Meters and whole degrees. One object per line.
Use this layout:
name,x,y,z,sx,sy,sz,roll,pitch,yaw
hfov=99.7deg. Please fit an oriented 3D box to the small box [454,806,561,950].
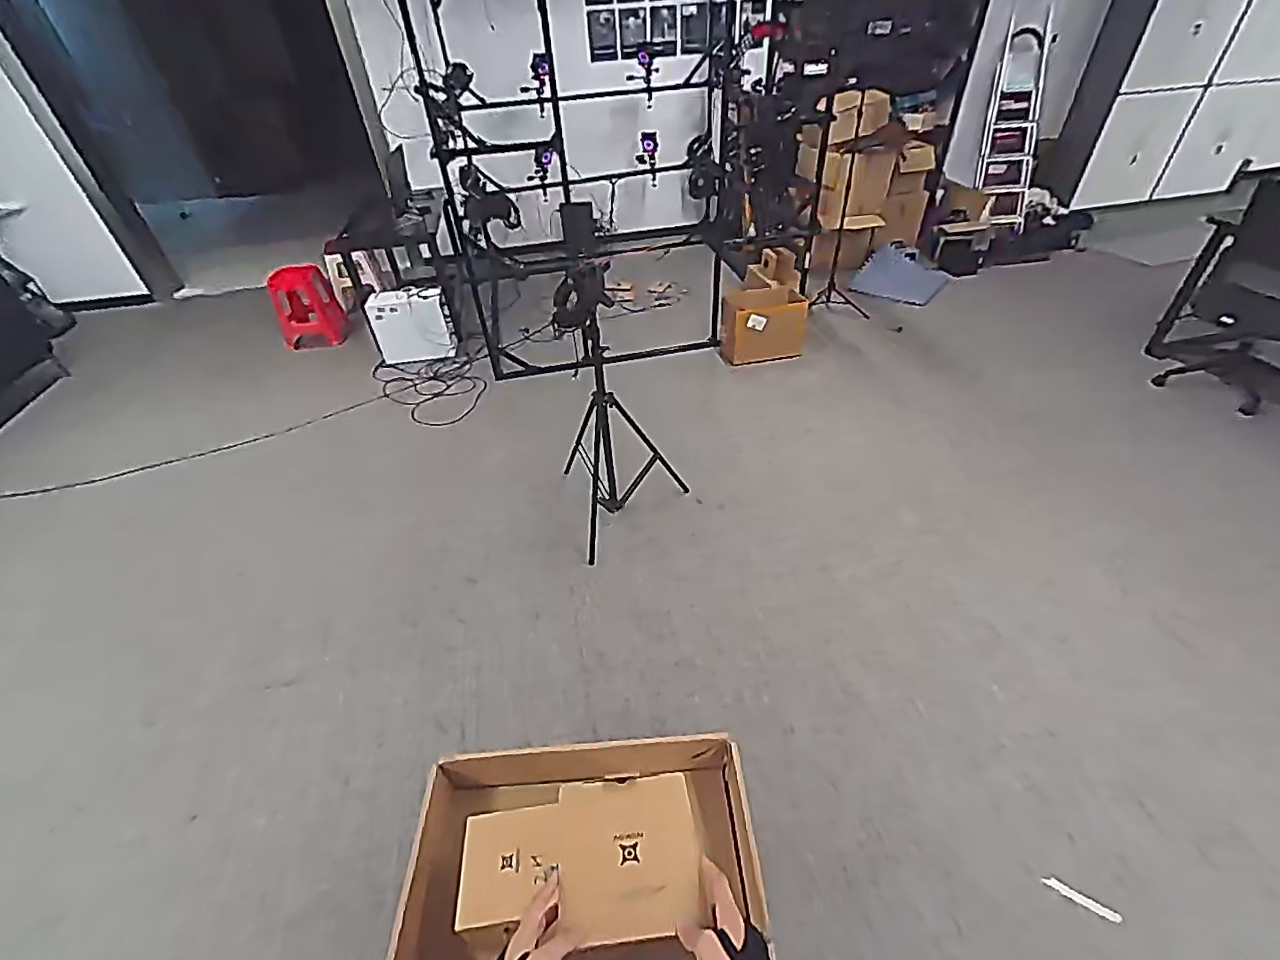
small box,-0.216,0.719,0.976,0.179,0.176,0.168,-6,40,-3

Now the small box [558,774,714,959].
small box,-0.016,0.501,0.666,0.168,0.176,0.179,-2,29,-7
